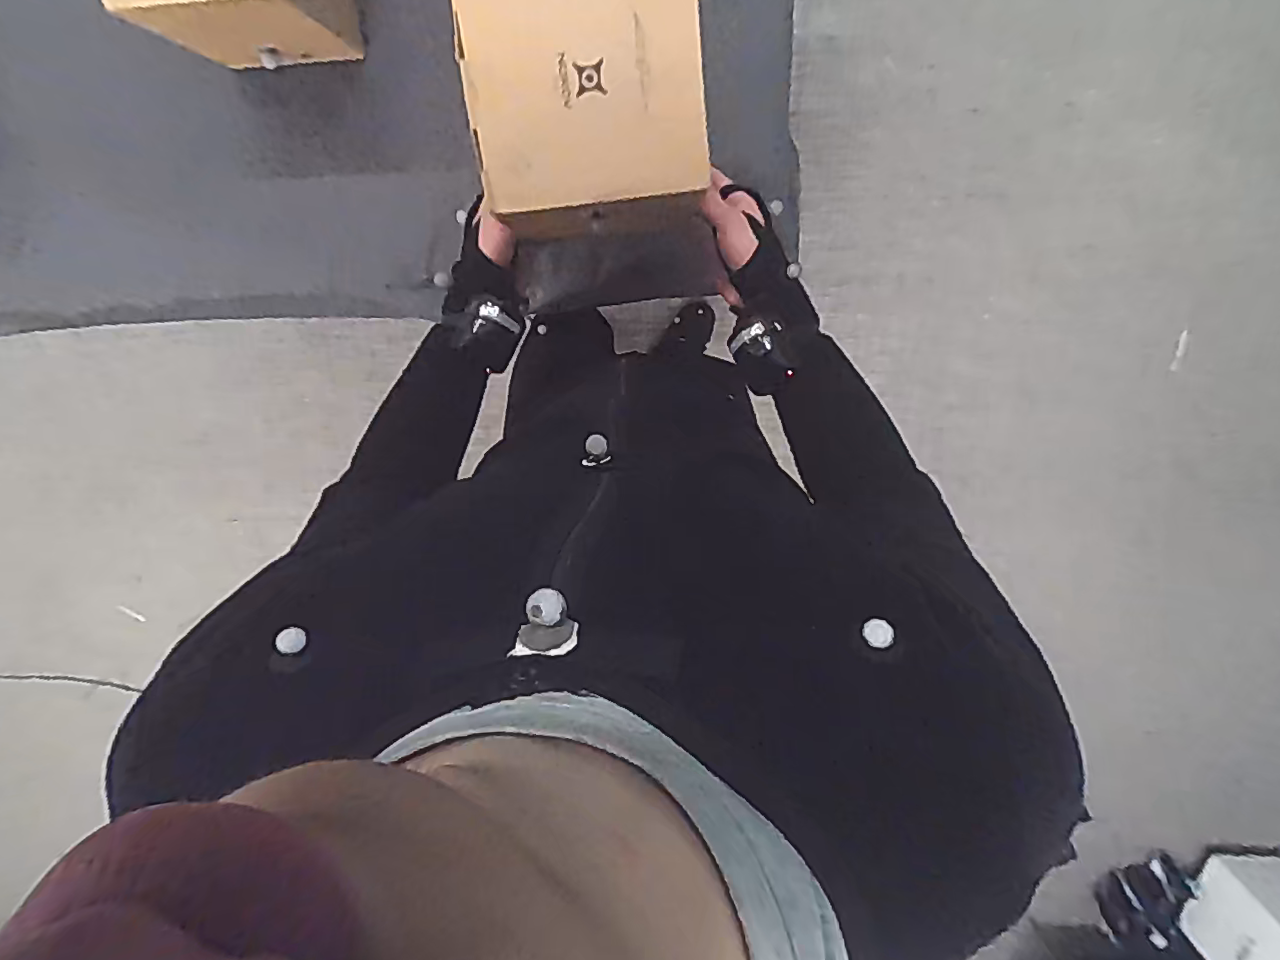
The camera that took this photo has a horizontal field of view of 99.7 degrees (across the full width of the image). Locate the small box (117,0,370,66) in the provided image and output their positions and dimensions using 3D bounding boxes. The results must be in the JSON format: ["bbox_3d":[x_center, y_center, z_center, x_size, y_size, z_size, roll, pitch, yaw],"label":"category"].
[{"bbox_3d":[-0.400,-0.545,0.535,0.168,0.176,0.179,-3,113,2],"label":"small box"}]

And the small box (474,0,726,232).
[{"bbox_3d":[-0.031,-0.328,0.479,0.179,0.176,0.168,-8,108,-2],"label":"small box"}]
